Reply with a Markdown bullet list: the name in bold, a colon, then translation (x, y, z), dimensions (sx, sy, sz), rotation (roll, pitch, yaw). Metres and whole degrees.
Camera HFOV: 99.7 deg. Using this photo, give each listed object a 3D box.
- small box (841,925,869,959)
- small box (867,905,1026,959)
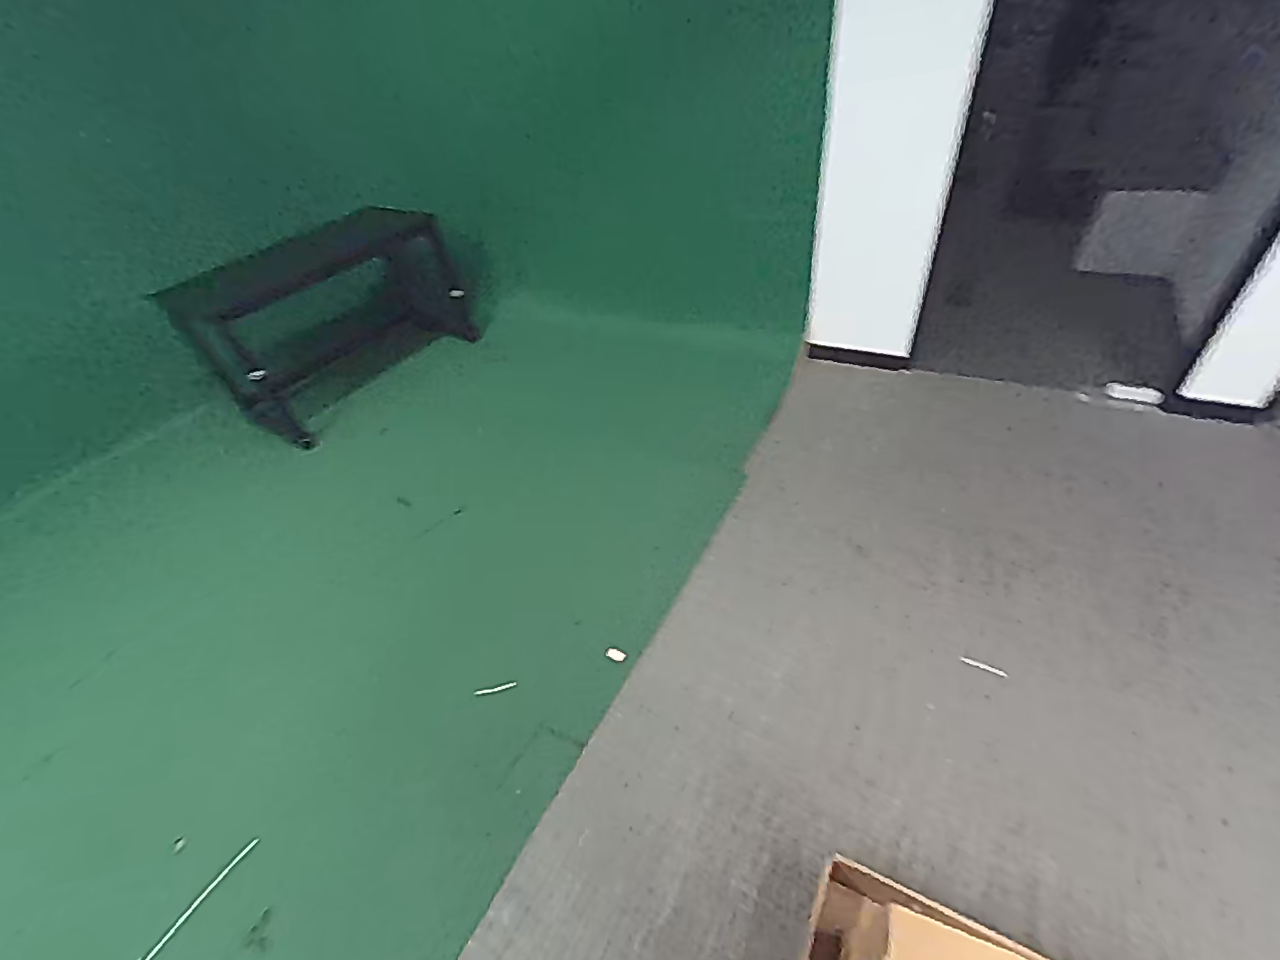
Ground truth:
- **small box**: translation (0.443, 0.934, 0.951), dimensions (0.179, 0.176, 0.168), rotation (14, 49, 22)
- **small box**: translation (0.405, 0.707, 0.719), dimensions (0.179, 0.176, 0.168), rotation (11, 48, 21)
